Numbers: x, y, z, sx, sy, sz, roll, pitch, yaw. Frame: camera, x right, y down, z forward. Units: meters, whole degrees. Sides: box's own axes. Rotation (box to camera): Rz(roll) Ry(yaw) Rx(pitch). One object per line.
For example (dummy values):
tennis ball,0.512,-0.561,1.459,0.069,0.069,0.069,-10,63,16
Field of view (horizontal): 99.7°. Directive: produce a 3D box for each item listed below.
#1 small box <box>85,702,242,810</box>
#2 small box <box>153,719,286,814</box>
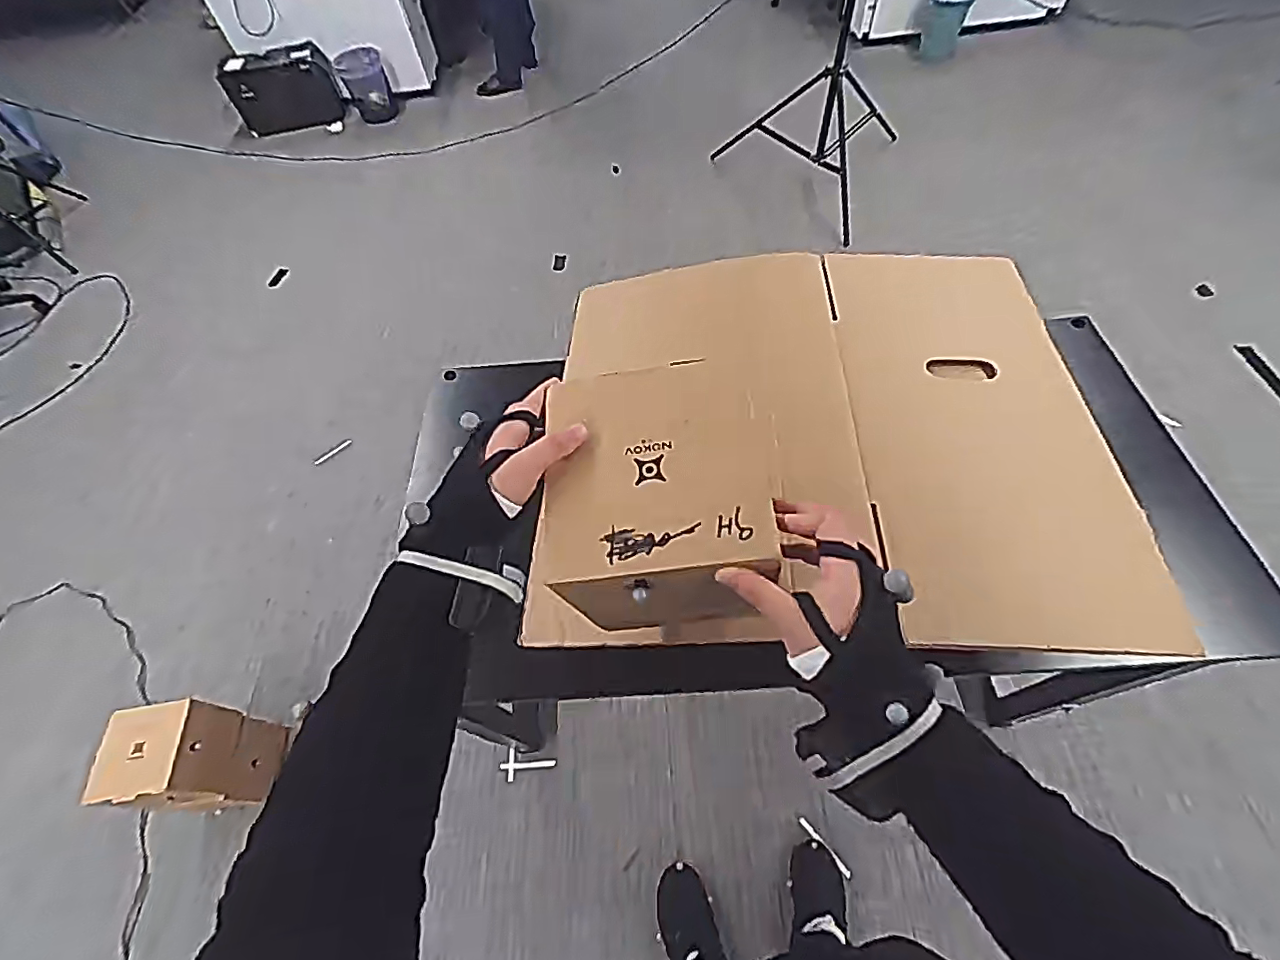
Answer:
small box,-1.003,0.596,1.160,0.168,0.176,0.179,-10,56,-2
small box,-0.989,0.688,1.294,0.168,0.176,0.179,-8,58,0
